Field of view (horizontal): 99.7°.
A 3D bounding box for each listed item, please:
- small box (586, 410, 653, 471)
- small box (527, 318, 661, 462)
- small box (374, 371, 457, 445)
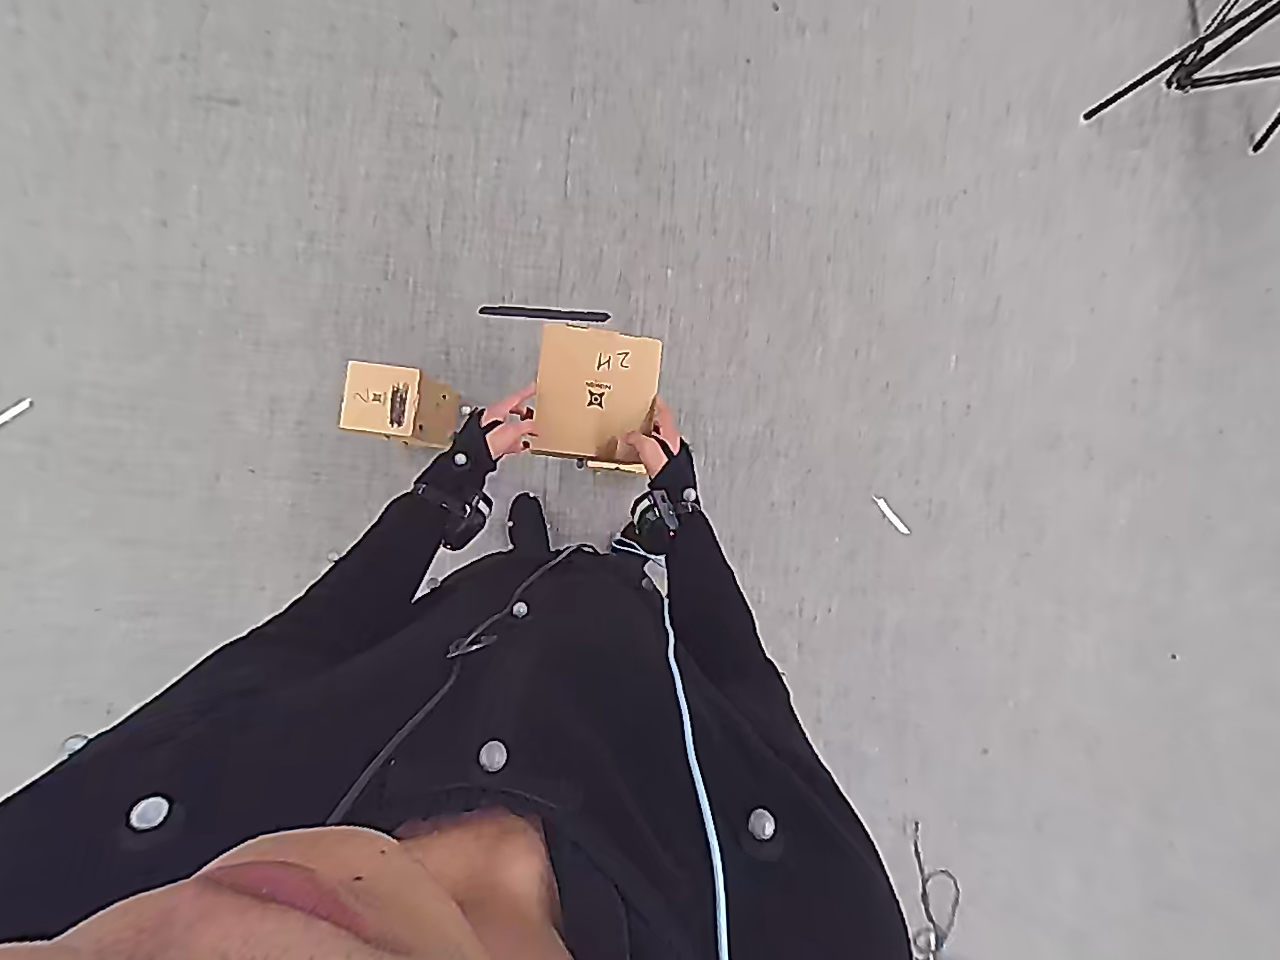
[{"bbox_3d":[-0.060,-0.121,1.563,0.168,0.176,0.179,7,88,-4],"label":"small box"},{"bbox_3d":[-0.075,-0.122,0.806,0.168,0.176,0.179,6,90,-12],"label":"small box"},{"bbox_3d":[-0.628,-0.196,1.531,0.168,0.176,0.179,5,88,-3],"label":"small box"}]
